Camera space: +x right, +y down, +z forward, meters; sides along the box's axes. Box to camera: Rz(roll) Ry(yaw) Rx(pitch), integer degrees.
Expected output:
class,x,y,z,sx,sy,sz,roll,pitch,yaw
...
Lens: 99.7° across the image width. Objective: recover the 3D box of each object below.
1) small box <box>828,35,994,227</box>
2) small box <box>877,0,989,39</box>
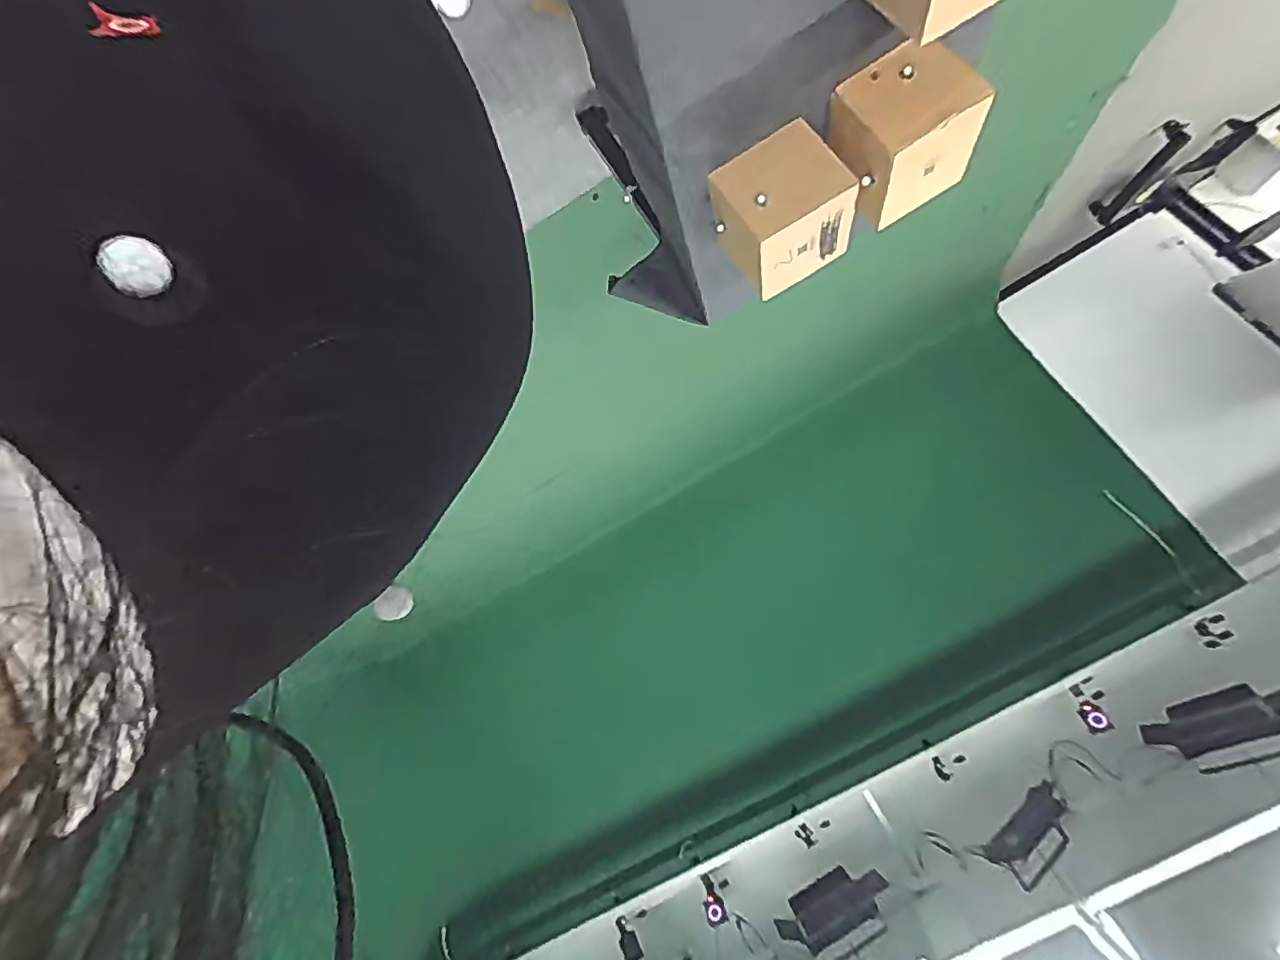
class,x,y,z,sx,sy,sz,roll,pitch,yaw
small box,0.433,-0.577,0.901,0.168,0.176,0.179,-31,160,6
small box,0.357,-0.659,0.596,0.179,0.176,0.168,-29,160,3
